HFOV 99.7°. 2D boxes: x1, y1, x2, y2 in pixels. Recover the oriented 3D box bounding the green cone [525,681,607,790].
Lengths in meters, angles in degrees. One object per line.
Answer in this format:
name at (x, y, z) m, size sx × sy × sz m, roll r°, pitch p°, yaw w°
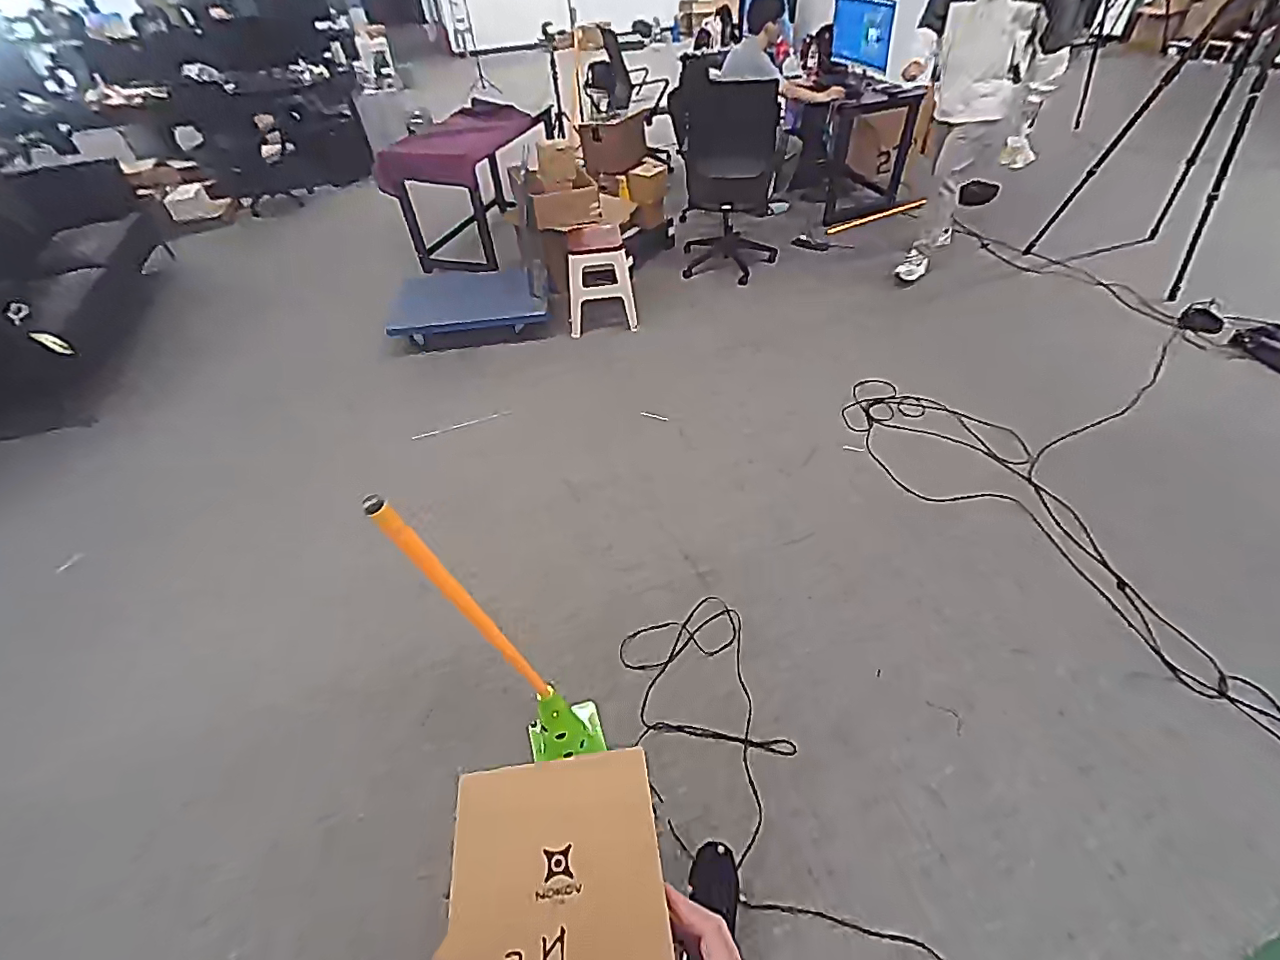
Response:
green cone at (-0.214, 0.614, 1.377) m, size 0.202 × 0.368 × 0.200 m, roll -15°, pitch 47°, yaw -12°
